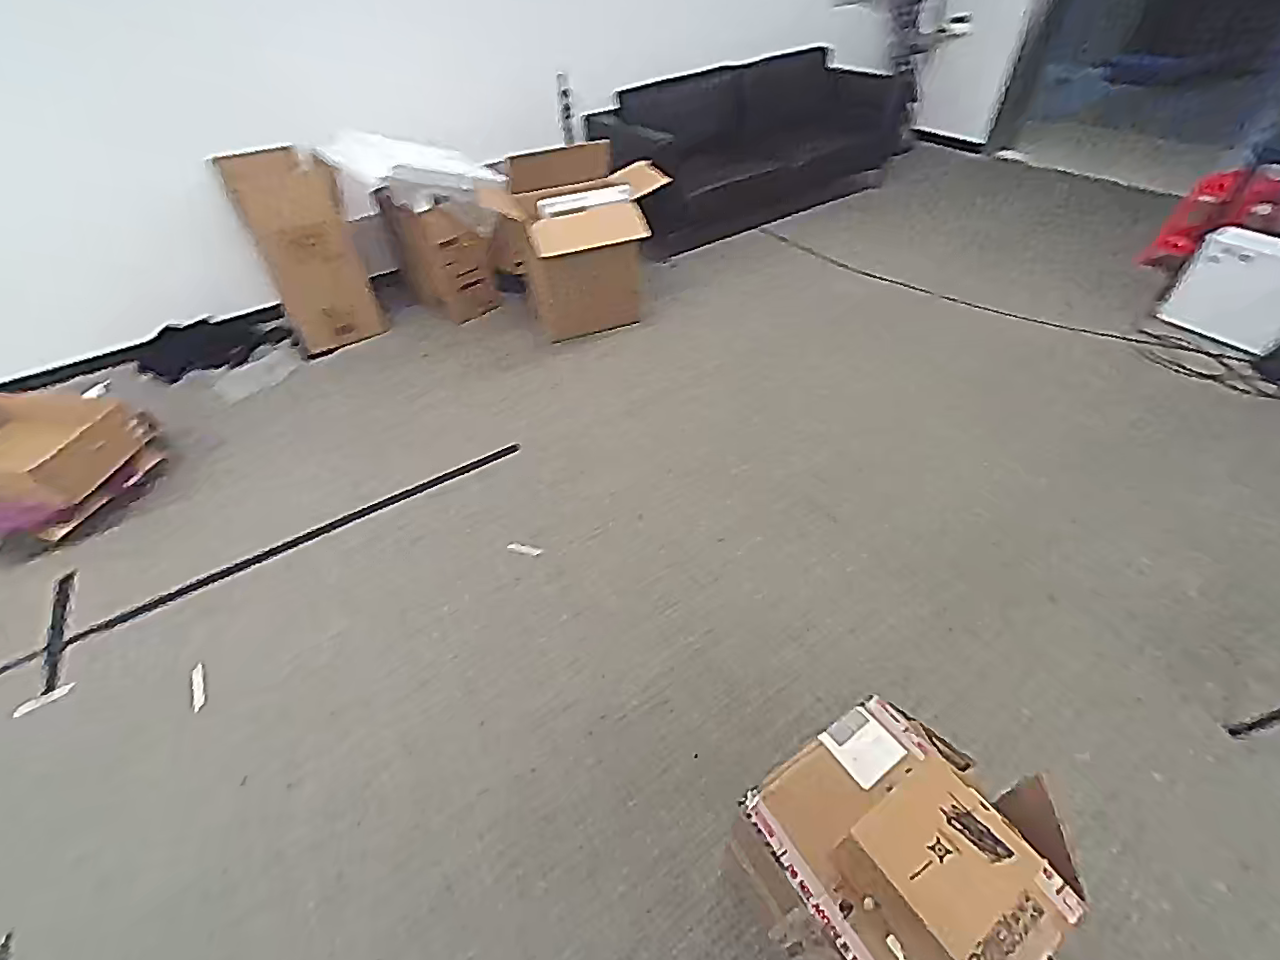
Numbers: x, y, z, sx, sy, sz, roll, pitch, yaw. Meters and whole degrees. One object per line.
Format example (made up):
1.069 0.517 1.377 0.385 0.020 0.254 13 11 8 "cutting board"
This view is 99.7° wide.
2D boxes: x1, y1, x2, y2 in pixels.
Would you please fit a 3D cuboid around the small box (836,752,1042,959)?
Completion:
0.404 0.530 0.765 0.179 0.176 0.168 -29 50 -18 "small box"
